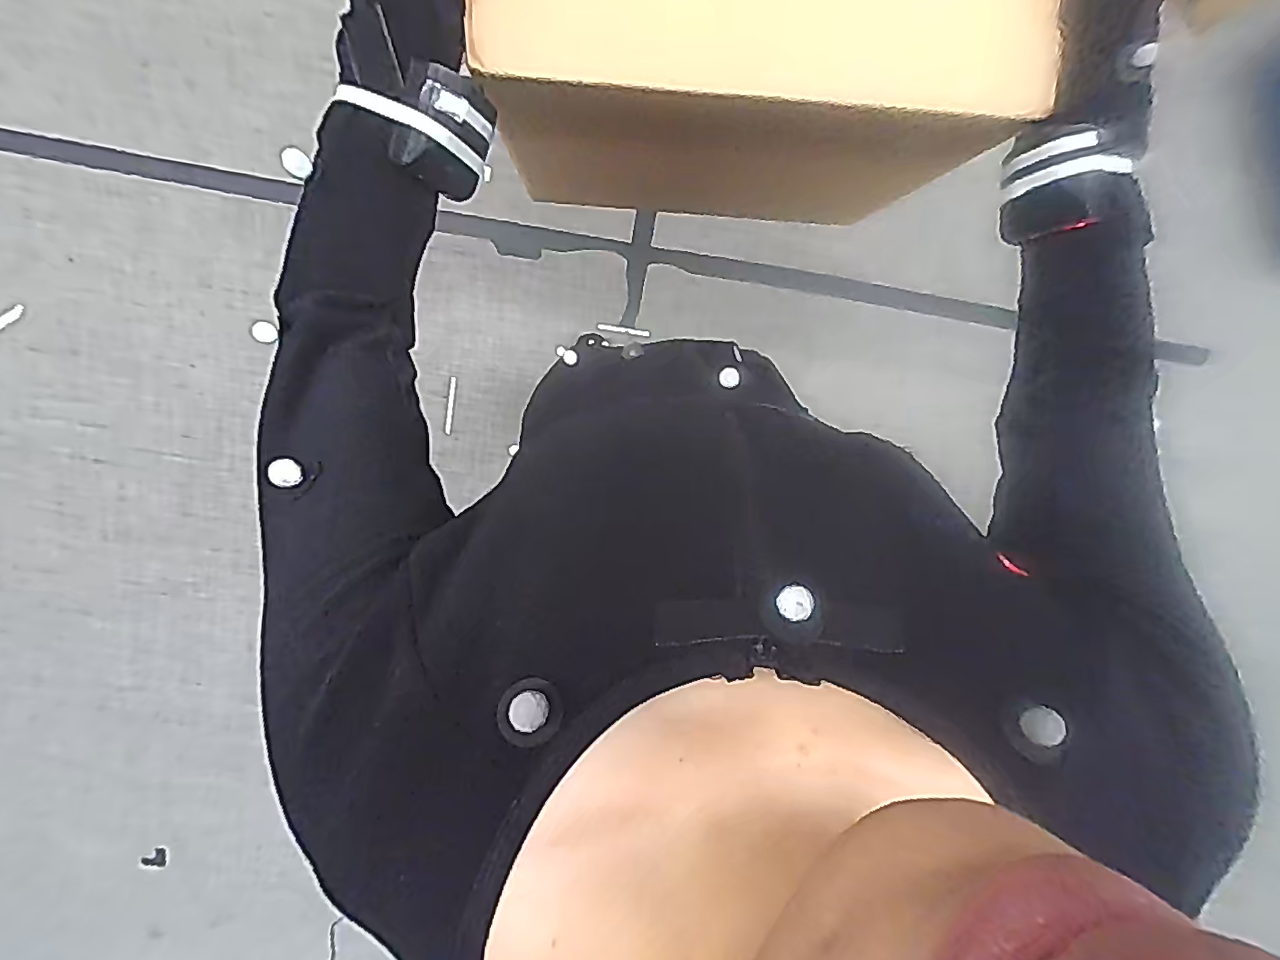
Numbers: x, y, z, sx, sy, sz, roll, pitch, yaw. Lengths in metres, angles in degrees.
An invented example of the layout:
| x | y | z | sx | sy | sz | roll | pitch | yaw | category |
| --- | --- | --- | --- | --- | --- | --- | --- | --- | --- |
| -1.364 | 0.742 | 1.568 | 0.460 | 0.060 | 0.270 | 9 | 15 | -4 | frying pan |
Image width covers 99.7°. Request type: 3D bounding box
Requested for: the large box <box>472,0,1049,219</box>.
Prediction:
| x | y | z | sx | sy | sz | roll | pitch | yaw | category |
| --- | --- | --- | --- | --- | --- | --- | --- | --- | --- |
| 0.079 | -0.450 | 0.492 | 0.408 | 0.320 | 0.320 | 2 | 102 | -4 | large box |
